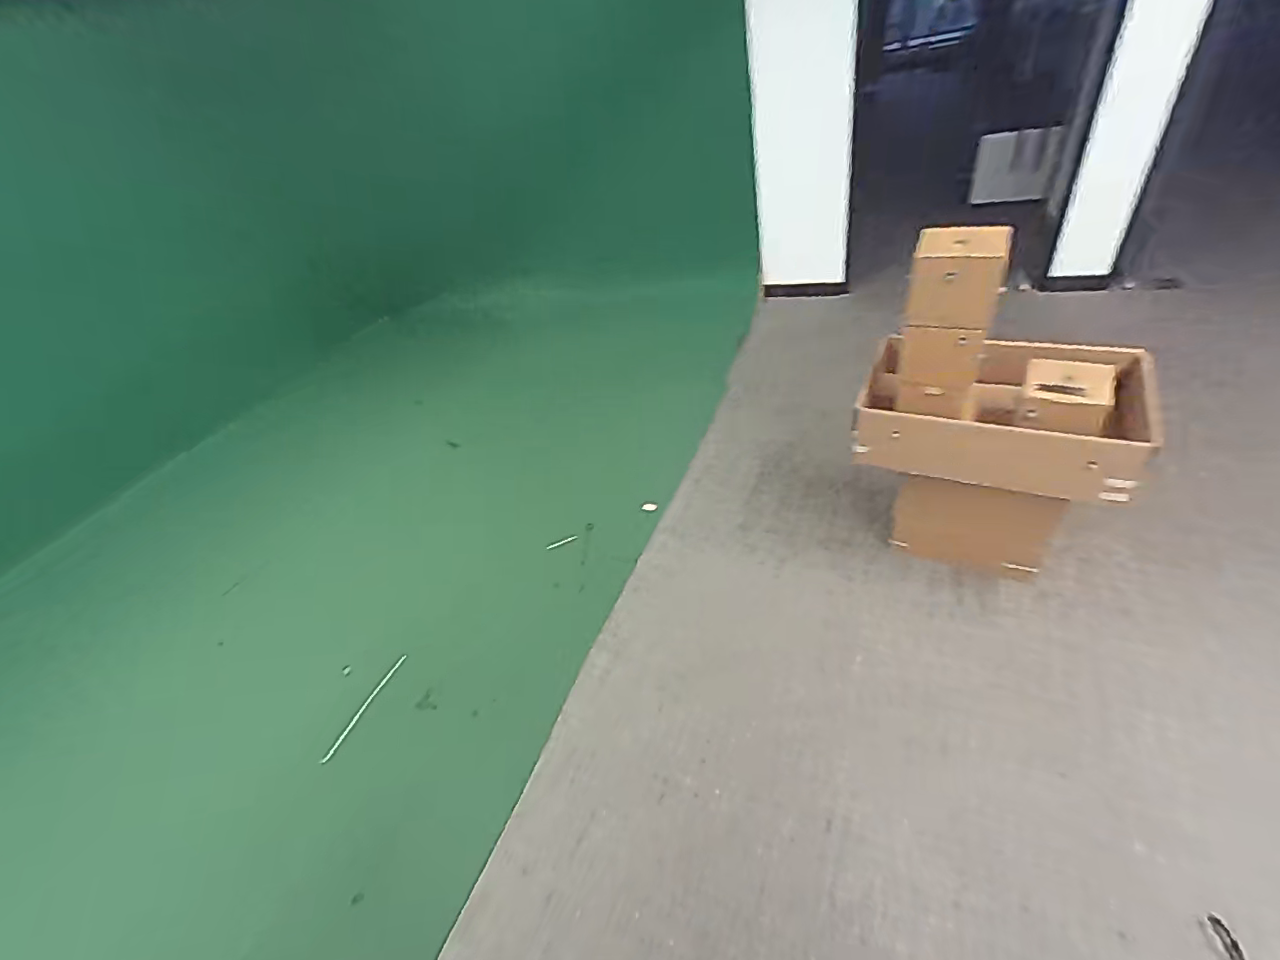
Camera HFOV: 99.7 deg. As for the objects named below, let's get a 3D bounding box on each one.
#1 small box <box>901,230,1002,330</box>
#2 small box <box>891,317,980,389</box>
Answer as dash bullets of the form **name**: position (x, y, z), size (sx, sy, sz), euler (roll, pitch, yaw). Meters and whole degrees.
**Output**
- **small box**: position (0.724, -0.468, 1.267), size (0.179, 0.176, 0.168), euler (12, 49, 26)
- **small box**: position (0.754, -0.350, 1.379), size (0.179, 0.176, 0.168), euler (13, 49, 26)
